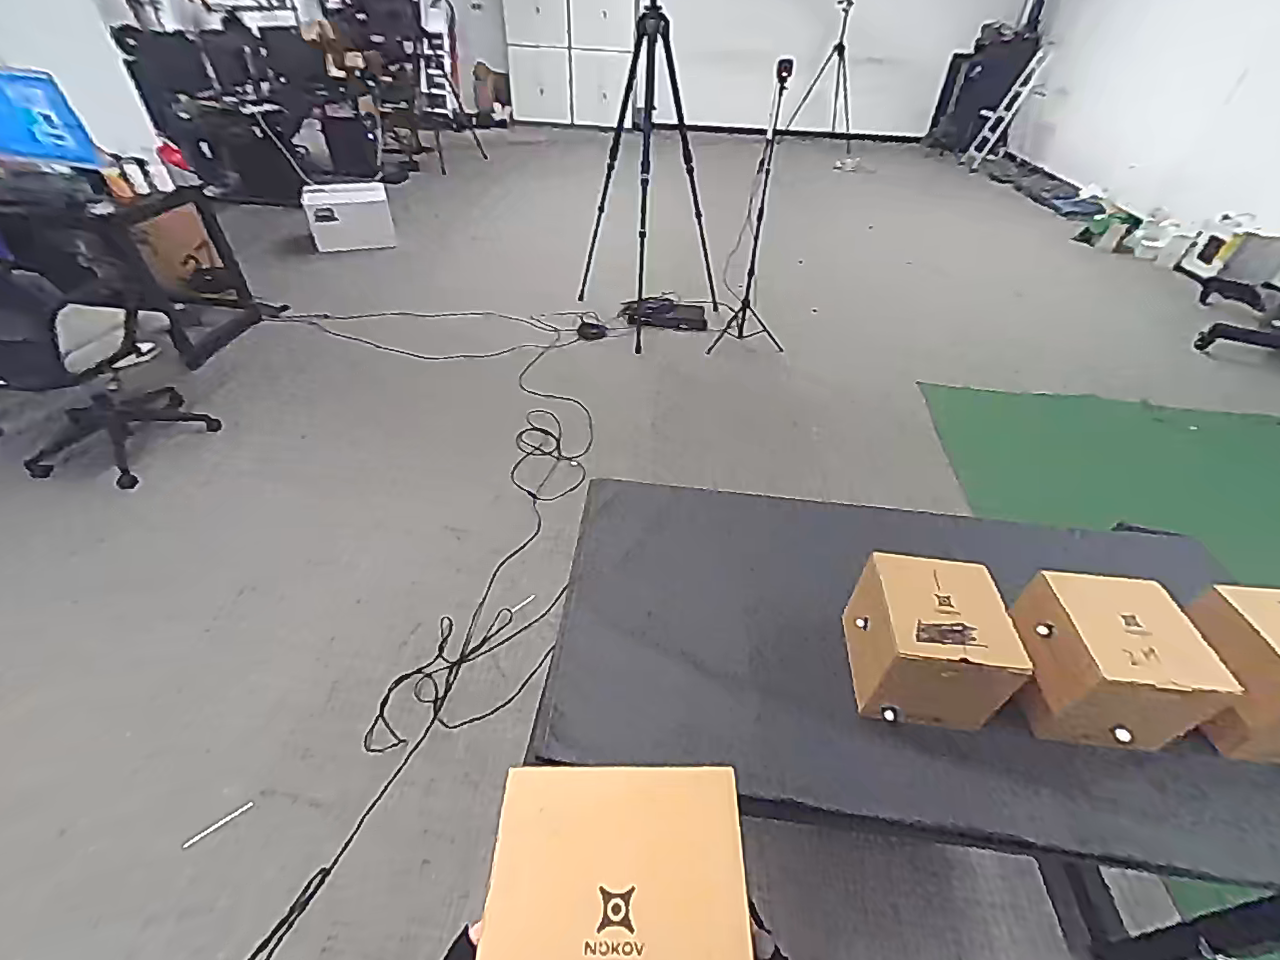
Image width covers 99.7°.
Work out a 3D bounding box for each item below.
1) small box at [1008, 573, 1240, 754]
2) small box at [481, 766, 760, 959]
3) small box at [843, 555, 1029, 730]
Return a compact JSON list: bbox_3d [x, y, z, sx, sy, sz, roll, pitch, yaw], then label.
[{"bbox_3d":[0.651,0.260,0.772,0.168,0.176,0.179,5,41,3],"label":"small box"},{"bbox_3d":[-0.010,0.326,0.383,0.168,0.176,0.179,-1,44,1],"label":"small box"},{"bbox_3d":[0.410,0.237,0.787,0.168,0.176,0.179,7,40,4],"label":"small box"}]
